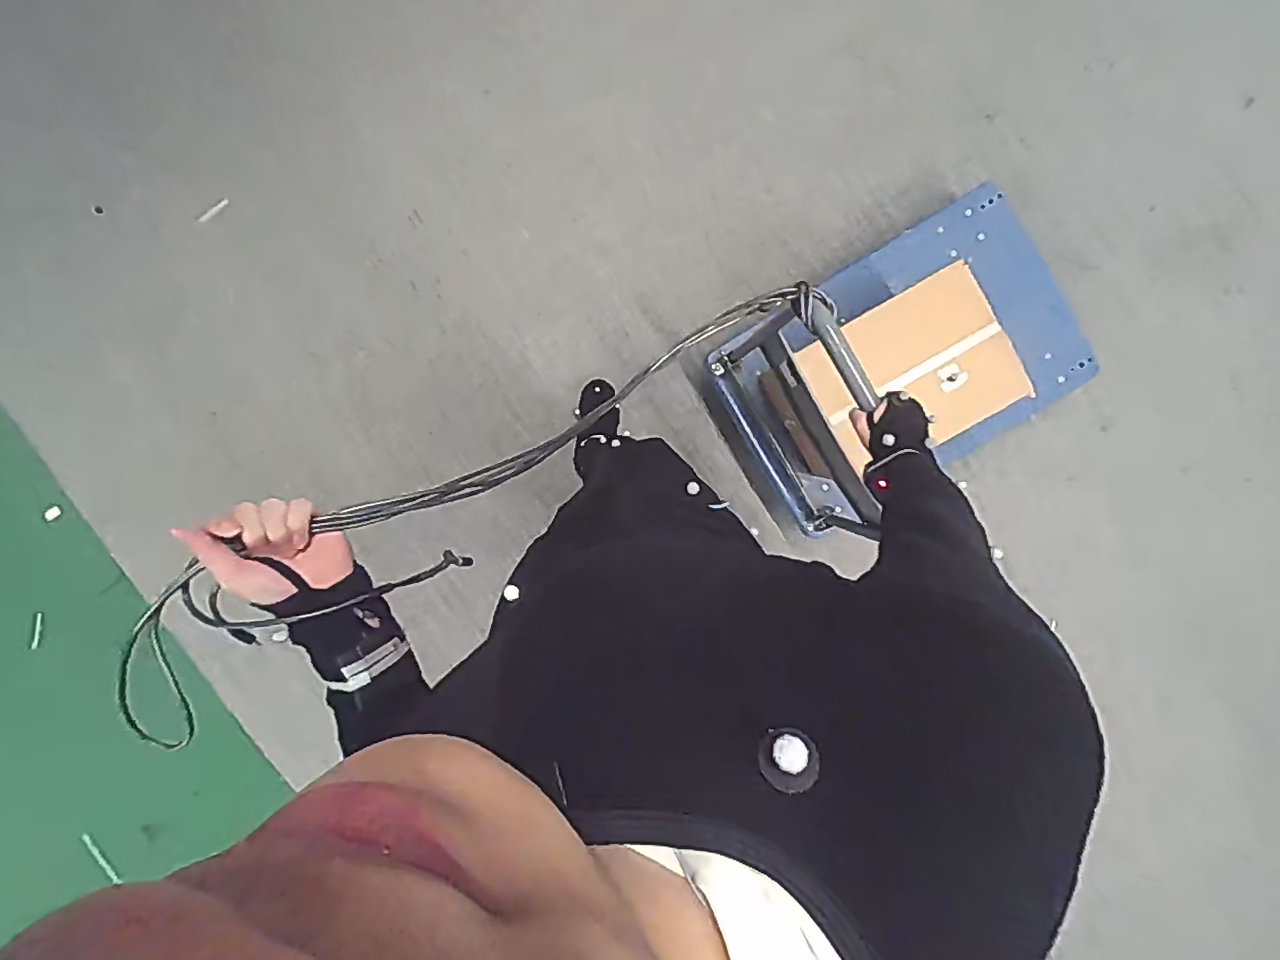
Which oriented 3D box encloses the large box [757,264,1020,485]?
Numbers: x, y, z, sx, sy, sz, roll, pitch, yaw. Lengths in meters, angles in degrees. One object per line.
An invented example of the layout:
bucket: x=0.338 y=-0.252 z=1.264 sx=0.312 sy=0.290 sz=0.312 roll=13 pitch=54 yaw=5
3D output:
large box: x=0.548 y=-0.221 z=1.272 sx=0.408 sy=0.320 sz=0.320 roll=-30 pitch=93 yaw=1
